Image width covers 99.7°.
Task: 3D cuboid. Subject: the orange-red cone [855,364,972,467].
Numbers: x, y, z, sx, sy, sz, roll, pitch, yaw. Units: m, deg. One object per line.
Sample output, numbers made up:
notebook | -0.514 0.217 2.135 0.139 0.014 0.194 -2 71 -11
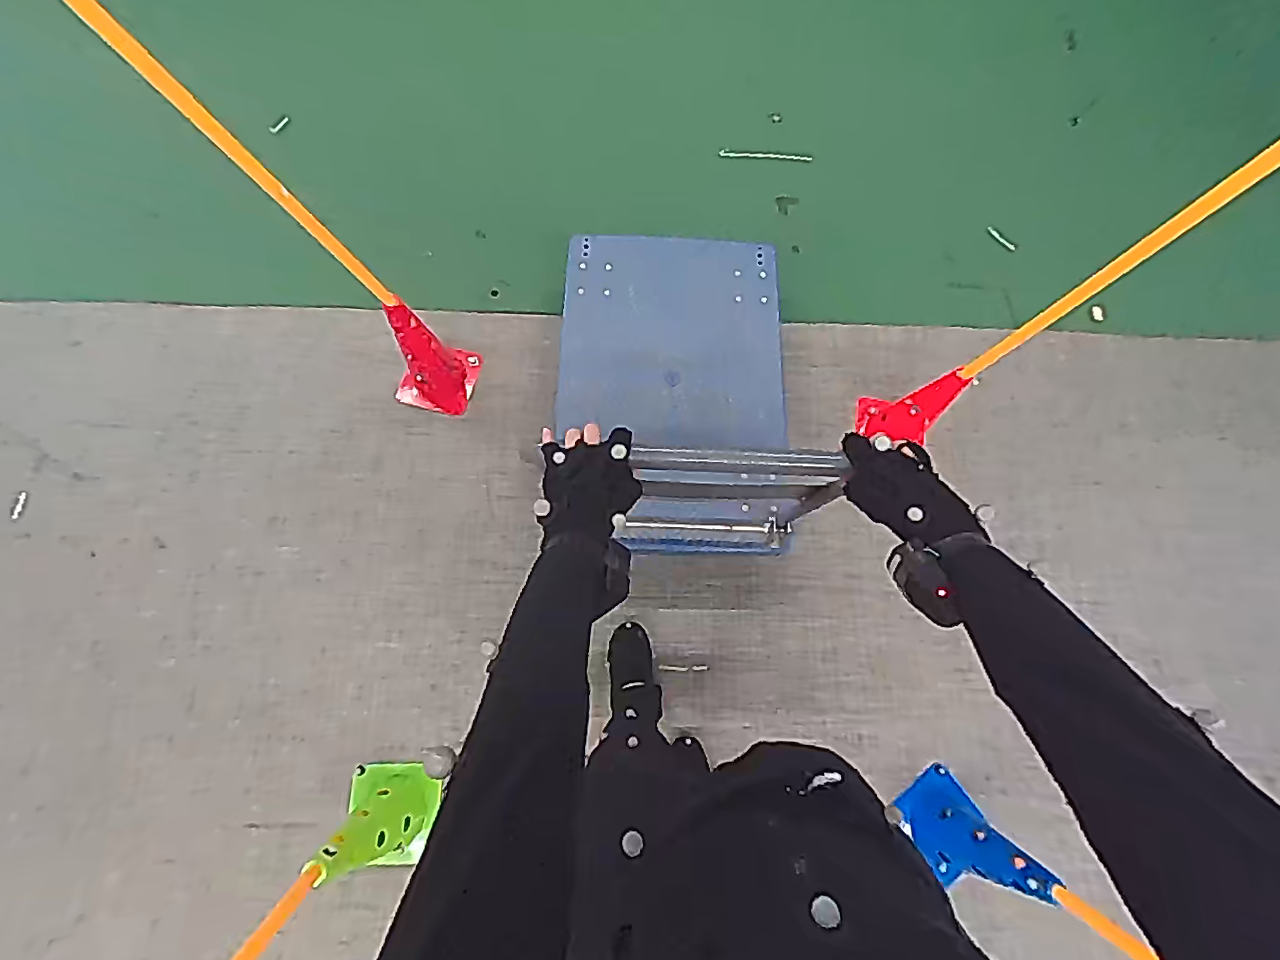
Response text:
orange-red cone | 0.720 -0.191 1.372 0.198 0.360 0.199 12 74 2
